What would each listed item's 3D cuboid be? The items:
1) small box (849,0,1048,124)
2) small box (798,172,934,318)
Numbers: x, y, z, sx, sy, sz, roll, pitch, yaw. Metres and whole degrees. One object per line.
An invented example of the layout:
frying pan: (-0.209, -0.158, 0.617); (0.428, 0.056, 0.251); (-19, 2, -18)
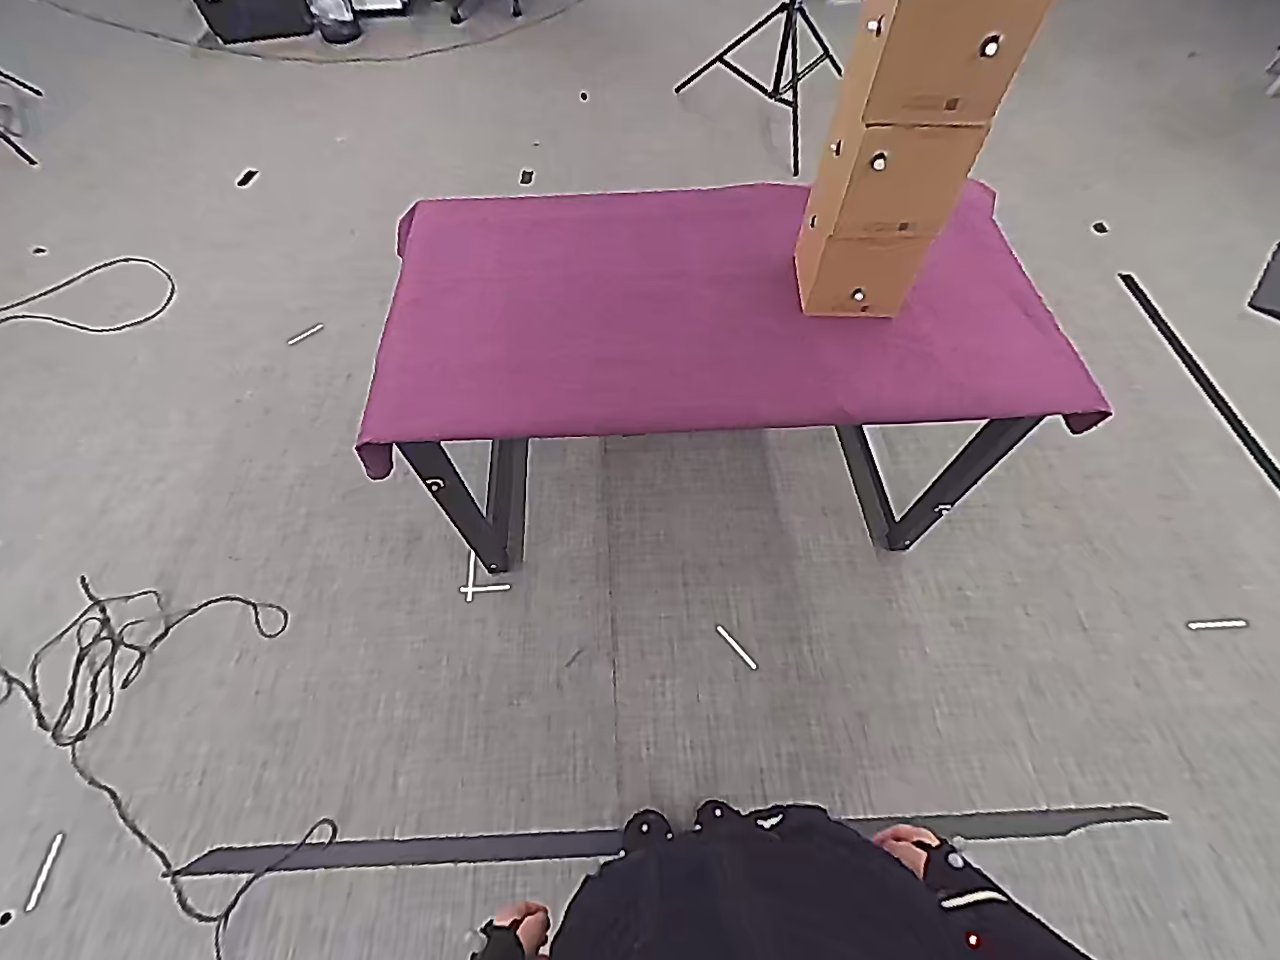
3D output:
small box: (0.375, -0.571, 0.670); (0.168, 0.176, 0.179); (4, 59, 2)
small box: (0.384, -0.413, 0.956); (0.168, 0.176, 0.179); (2, 60, 3)
